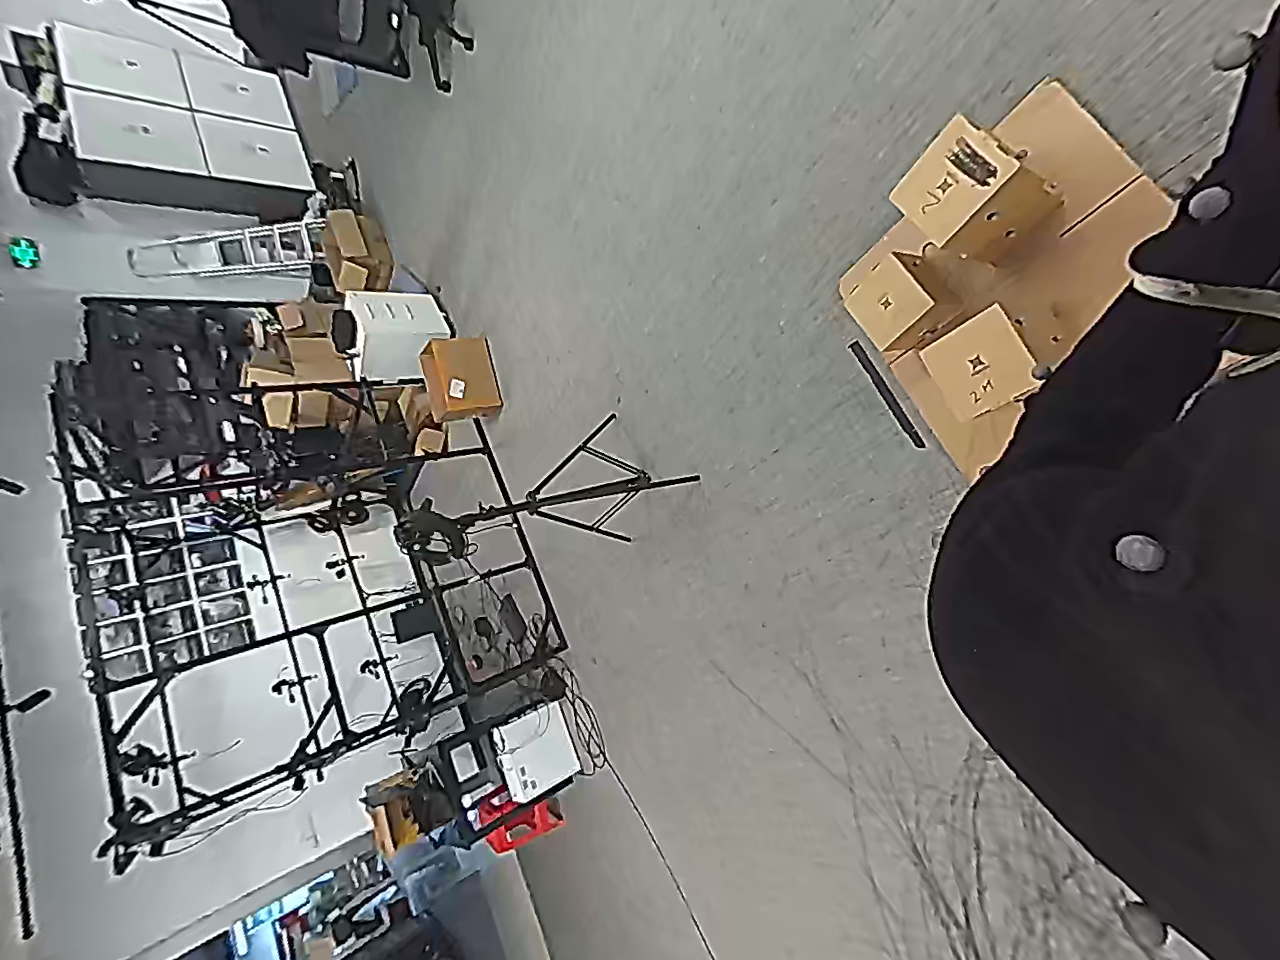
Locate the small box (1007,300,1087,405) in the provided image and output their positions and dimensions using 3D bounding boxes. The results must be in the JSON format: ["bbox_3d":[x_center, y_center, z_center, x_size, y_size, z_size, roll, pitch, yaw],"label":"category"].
[{"bbox_3d":[0.836,-0.273,1.193,0.168,0.176,0.179,-39,72,49],"label":"small box"}]

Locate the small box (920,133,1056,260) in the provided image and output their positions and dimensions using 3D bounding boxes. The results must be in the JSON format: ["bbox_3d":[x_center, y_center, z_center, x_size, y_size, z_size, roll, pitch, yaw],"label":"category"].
[{"bbox_3d":[0.765,-0.610,1.183,0.179,0.176,0.168,-49,63,46],"label":"small box"}]

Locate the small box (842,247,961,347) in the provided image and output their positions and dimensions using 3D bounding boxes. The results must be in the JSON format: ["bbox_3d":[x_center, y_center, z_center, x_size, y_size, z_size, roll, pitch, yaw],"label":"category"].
[{"bbox_3d":[0.657,-0.455,1.361,0.179,0.176,0.168,61,141,19],"label":"small box"}]

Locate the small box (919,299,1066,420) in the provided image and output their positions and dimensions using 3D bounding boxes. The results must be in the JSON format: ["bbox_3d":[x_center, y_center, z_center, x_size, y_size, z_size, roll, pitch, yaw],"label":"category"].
[{"bbox_3d":[0.711,-0.241,1.091,0.168,0.176,0.179,-37,73,49],"label":"small box"}]
